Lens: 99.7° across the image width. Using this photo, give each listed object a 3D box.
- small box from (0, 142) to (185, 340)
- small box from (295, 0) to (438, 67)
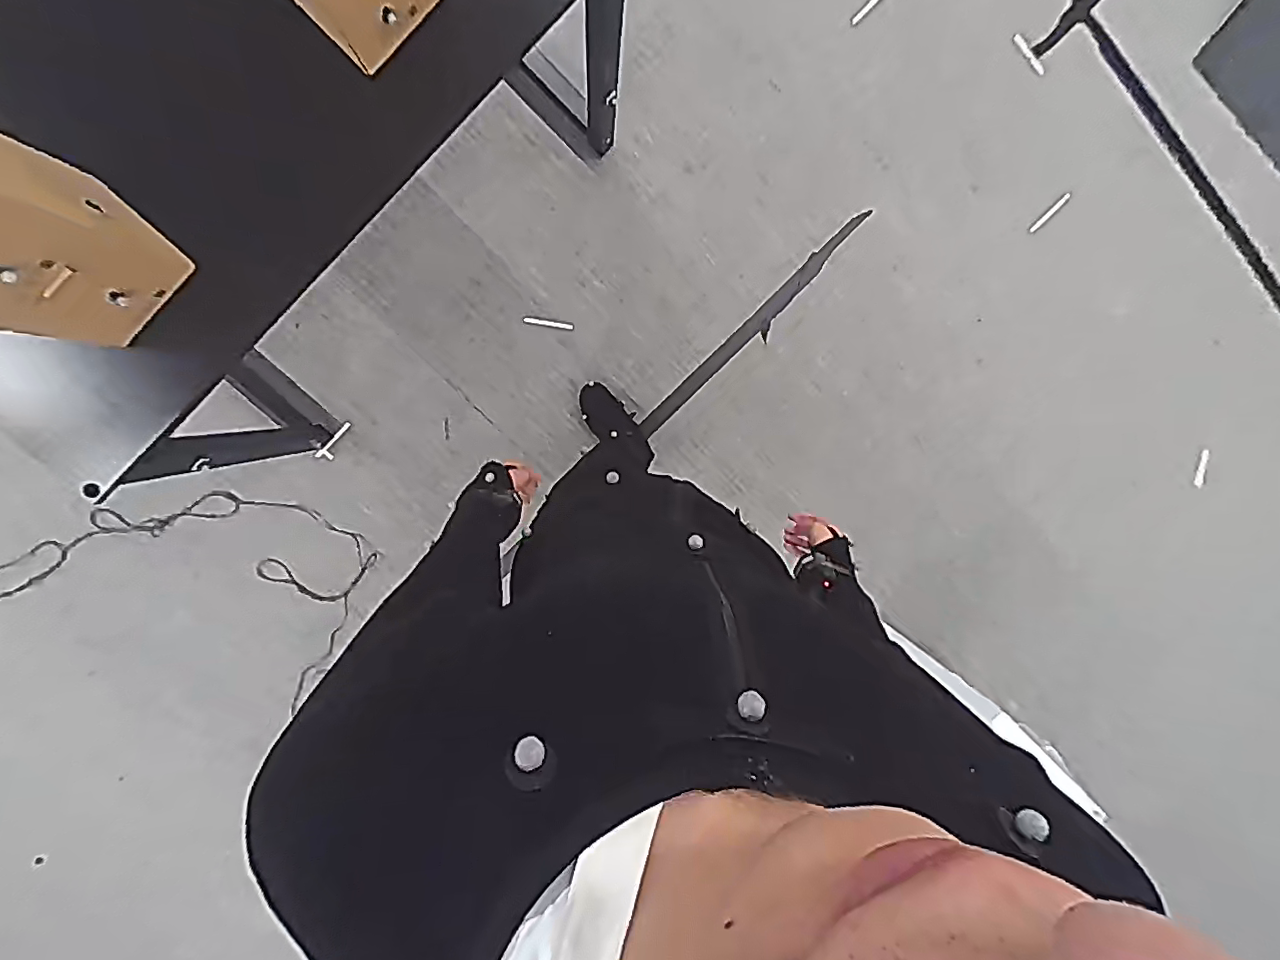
[{"bbox_3d":[-0.757,-0.298,0.695,0.179,0.176,0.168,43,92,-10],"label":"small box"},{"bbox_3d":[-0.386,-0.685,0.677,0.179,0.176,0.168,43,92,-10],"label":"small box"}]
